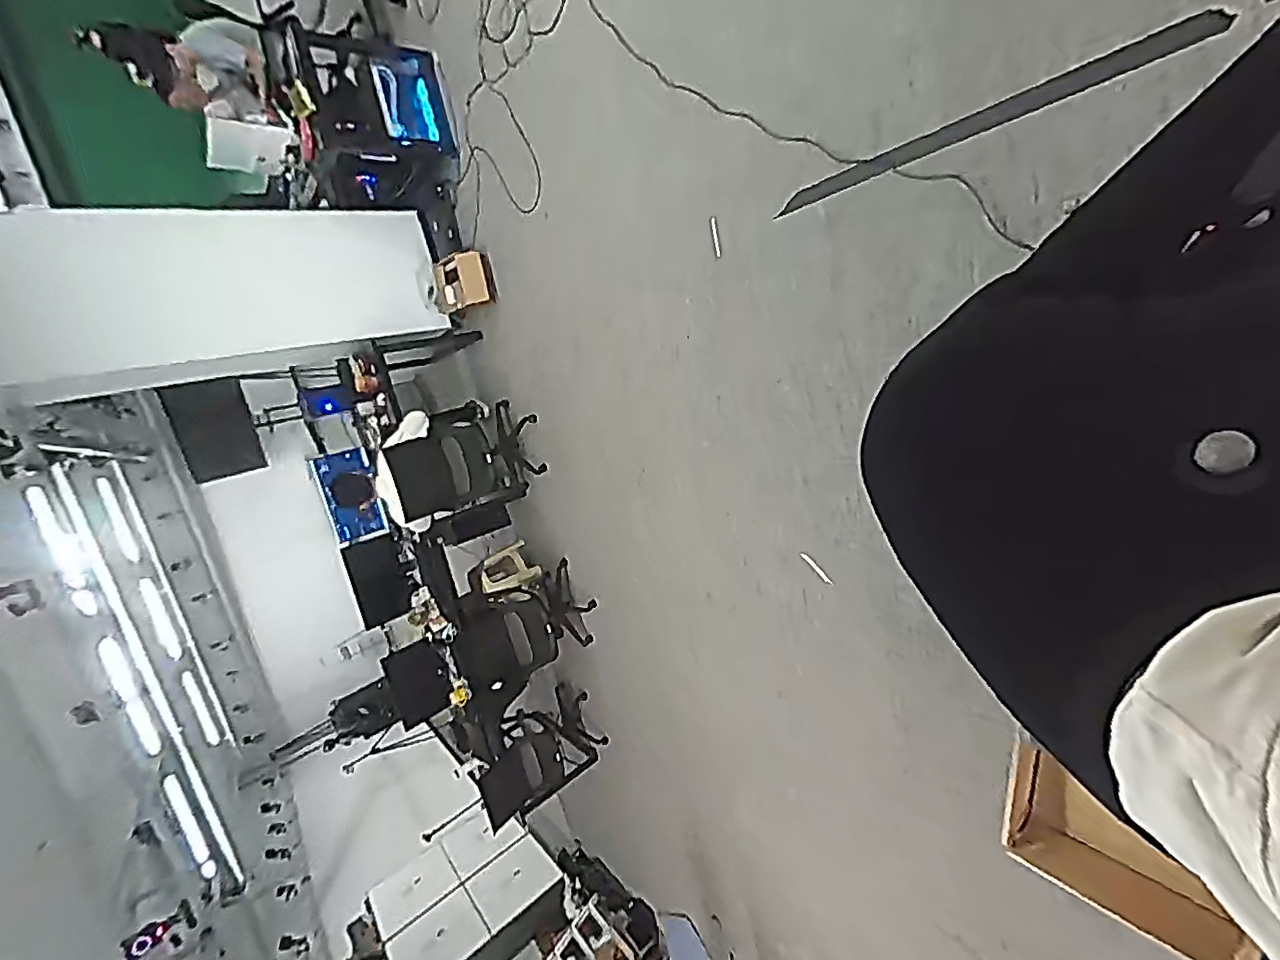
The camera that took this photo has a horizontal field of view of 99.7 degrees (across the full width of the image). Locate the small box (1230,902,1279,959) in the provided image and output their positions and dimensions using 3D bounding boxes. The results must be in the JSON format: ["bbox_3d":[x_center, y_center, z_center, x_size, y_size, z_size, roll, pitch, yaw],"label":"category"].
[{"bbox_3d":[1.005,0.787,0.795,0.168,0.176,0.179,25,128,44],"label":"small box"}]
